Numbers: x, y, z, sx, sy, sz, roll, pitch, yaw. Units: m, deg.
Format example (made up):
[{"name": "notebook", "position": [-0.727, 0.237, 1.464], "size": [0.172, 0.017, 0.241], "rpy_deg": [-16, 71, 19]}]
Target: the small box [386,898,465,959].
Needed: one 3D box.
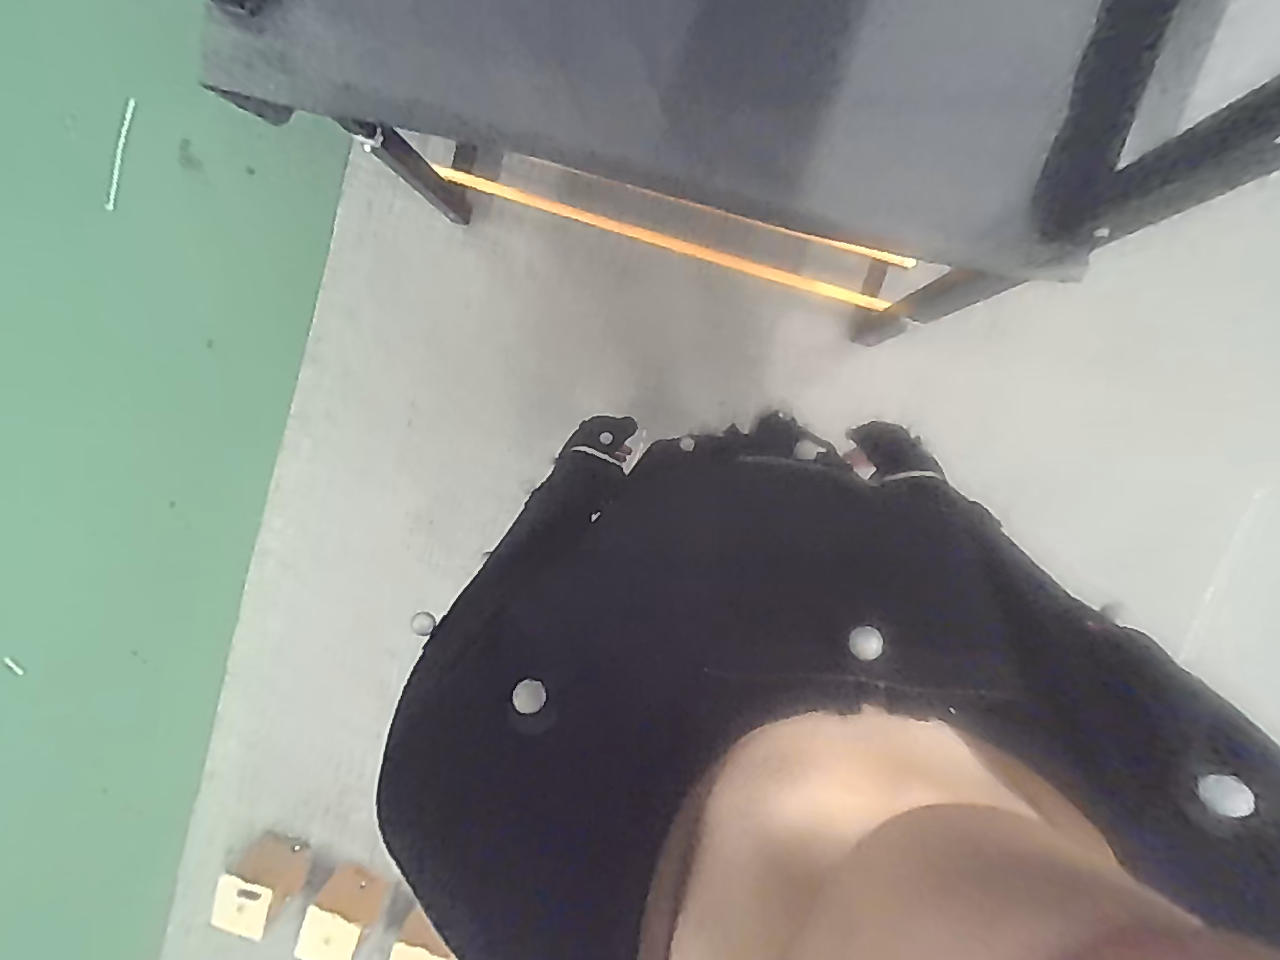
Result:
[{"name": "small box", "position": [-0.634, 1.388, 1.577], "size": [0.168, 0.176, 0.179], "rpy_deg": [18, 96, 2]}]

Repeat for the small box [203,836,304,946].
[{"name": "small box", "position": [-1.141, 1.214, 1.610], "size": [0.168, 0.176, 0.179], "rpy_deg": [17, 97, 4]}]

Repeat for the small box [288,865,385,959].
[{"name": "small box", "position": [-0.887, 1.302, 1.596], "size": [0.168, 0.176, 0.179], "rpy_deg": [21, 96, 3]}]
